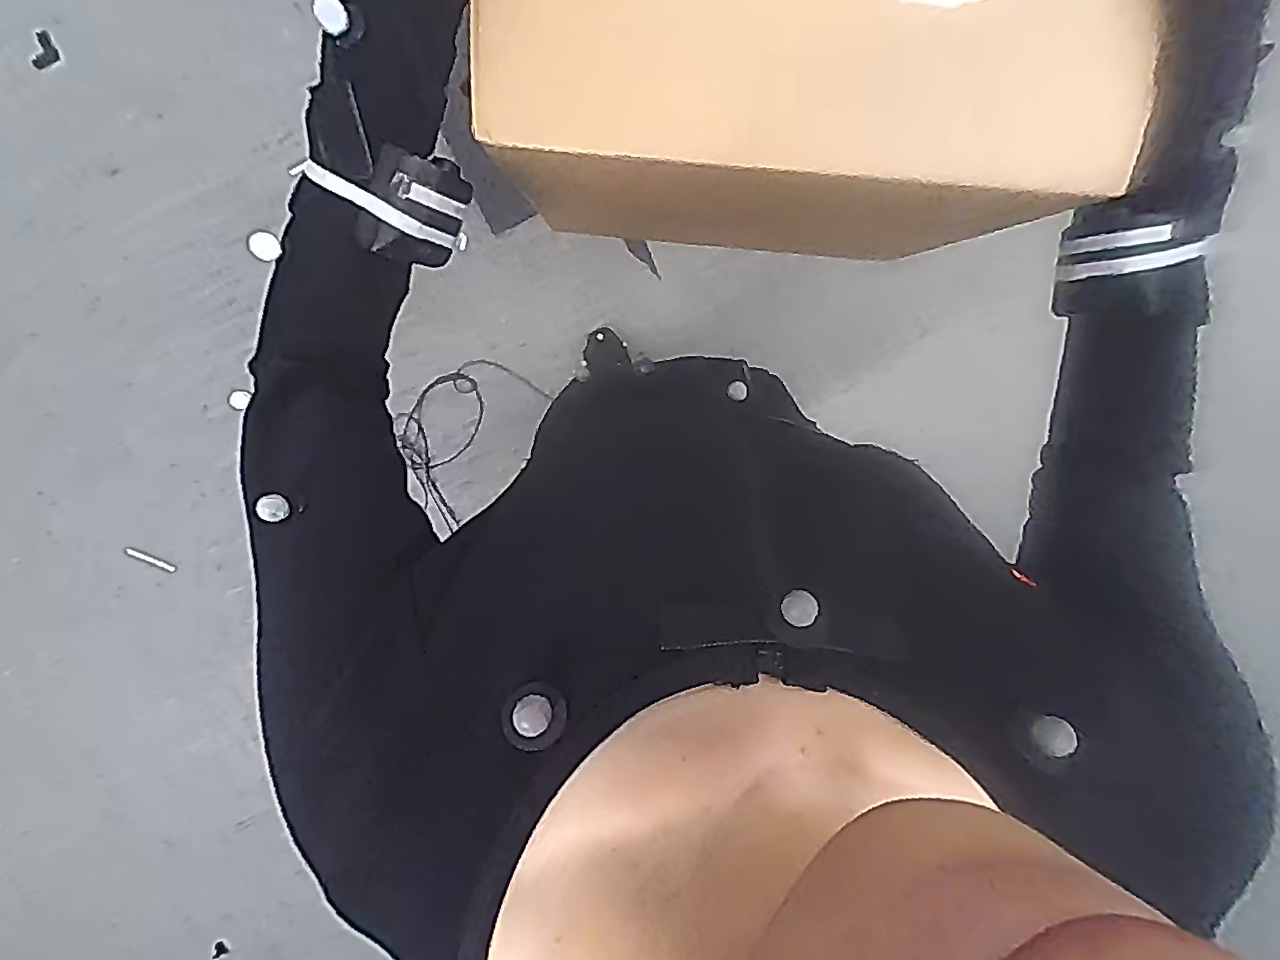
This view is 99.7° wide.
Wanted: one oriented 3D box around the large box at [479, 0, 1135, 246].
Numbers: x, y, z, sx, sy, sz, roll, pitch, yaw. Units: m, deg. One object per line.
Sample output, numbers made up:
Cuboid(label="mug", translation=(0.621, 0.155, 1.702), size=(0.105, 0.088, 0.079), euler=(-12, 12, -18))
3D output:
Cuboid(label="large box", translation=(0.100, -0.393, 0.451), size=(0.408, 0.320, 0.320), euler=(3, 106, -2))

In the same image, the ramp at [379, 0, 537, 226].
Cuboid(label="ramp", translation=(-0.351, -1.155, 1.175), size=(0.509, 0.206, 0.991), euler=(-26, 101, 4))
